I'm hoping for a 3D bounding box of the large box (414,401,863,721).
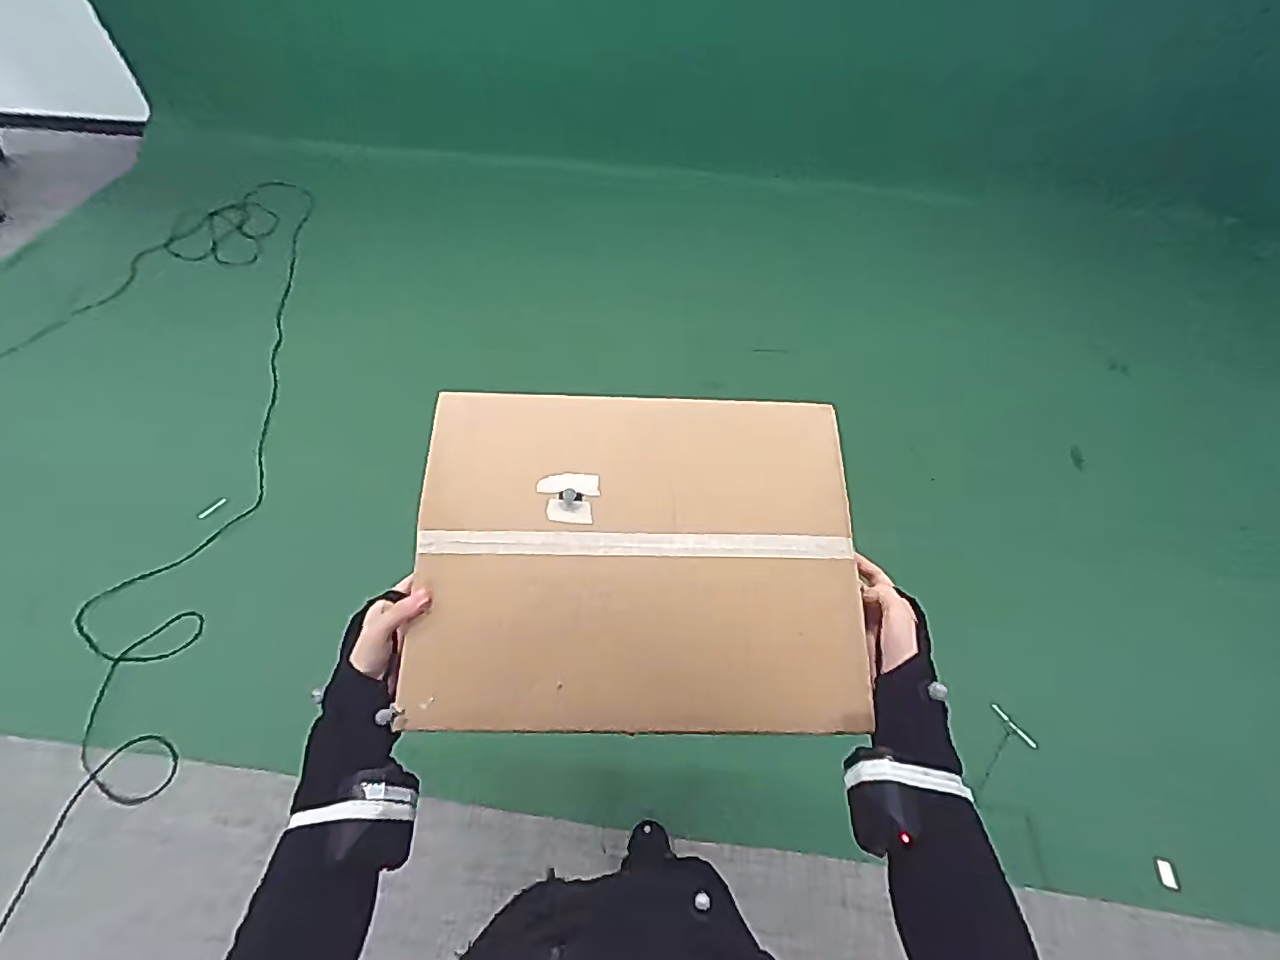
[{"bbox_3d":[-0.002,0.110,0.662,0.408,0.320,0.320,0,70,-1],"label":"large box"}]
